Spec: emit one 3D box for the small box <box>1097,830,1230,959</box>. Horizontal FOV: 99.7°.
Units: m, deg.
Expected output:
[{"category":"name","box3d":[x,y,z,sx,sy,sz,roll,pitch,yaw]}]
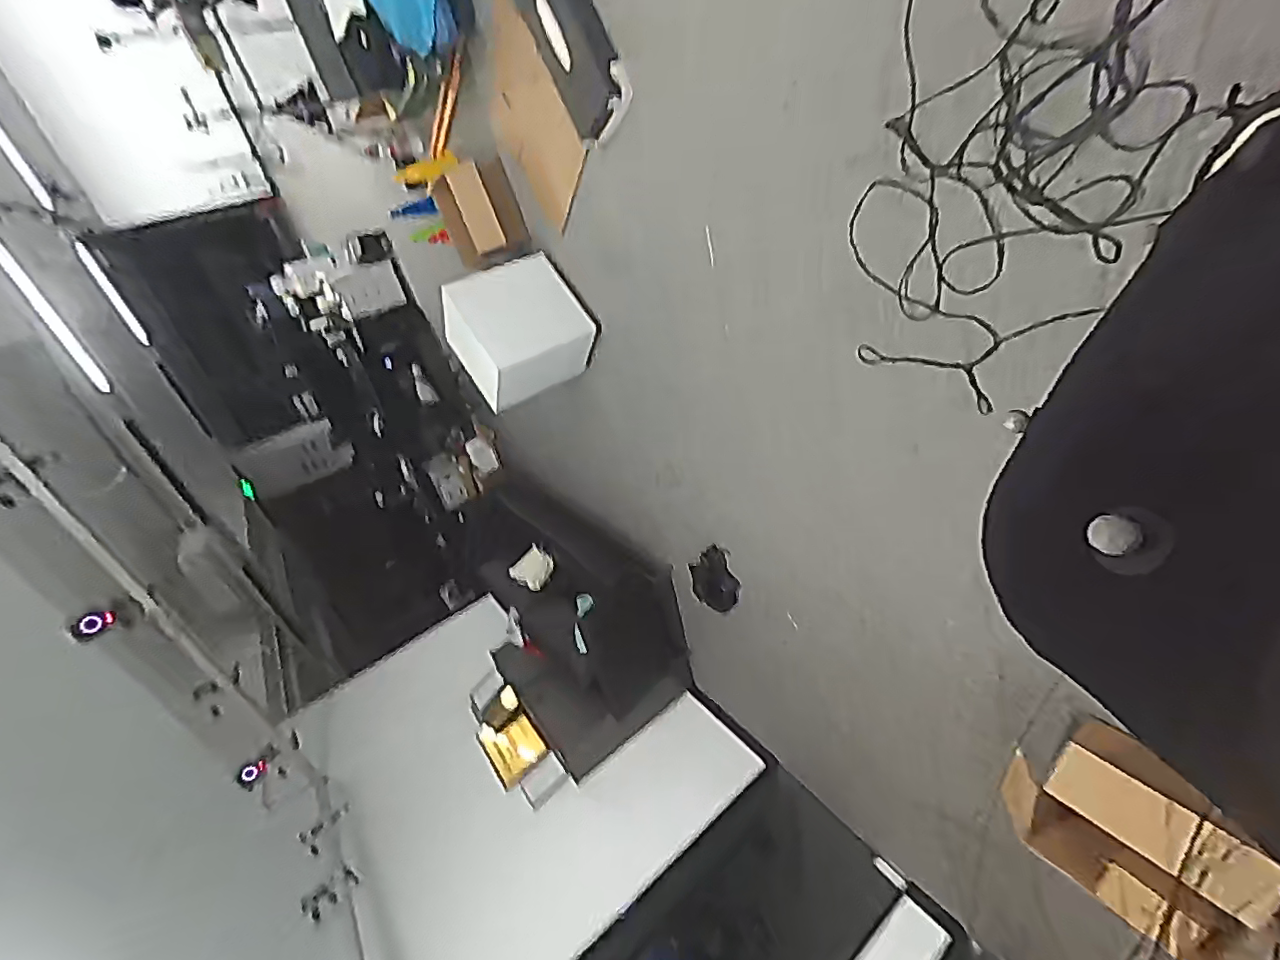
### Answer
[{"category":"small box","box3d":[1.266,1.006,1.309,0.168,0.176,0.179,33,140,47]}]
